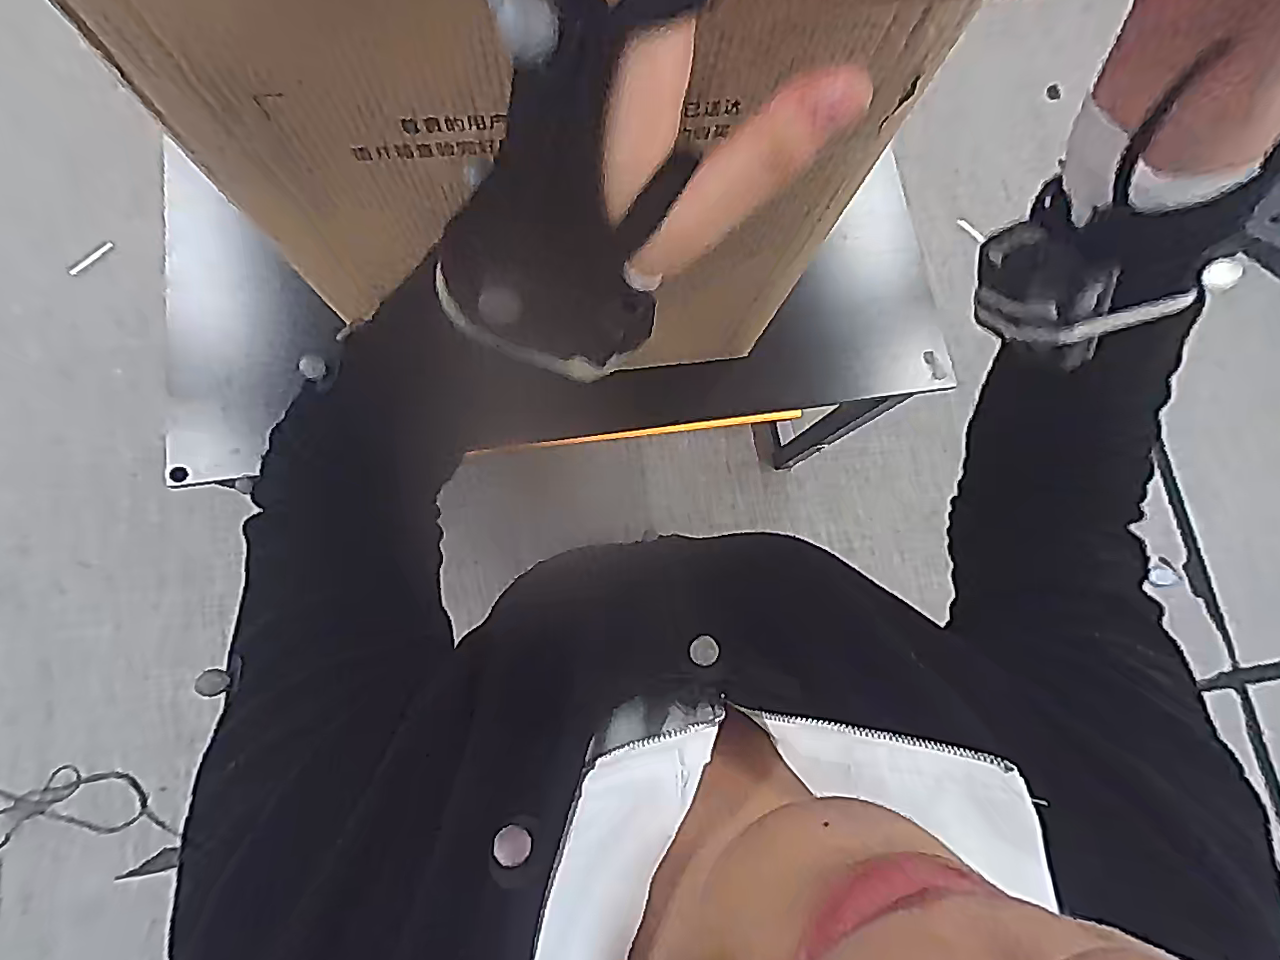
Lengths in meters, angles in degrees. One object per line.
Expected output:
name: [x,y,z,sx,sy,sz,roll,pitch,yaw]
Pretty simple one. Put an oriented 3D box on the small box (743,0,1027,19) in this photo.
small box: [0.105,-0.250,0.116,0.168,0.176,0.179,-8,109,-3]
